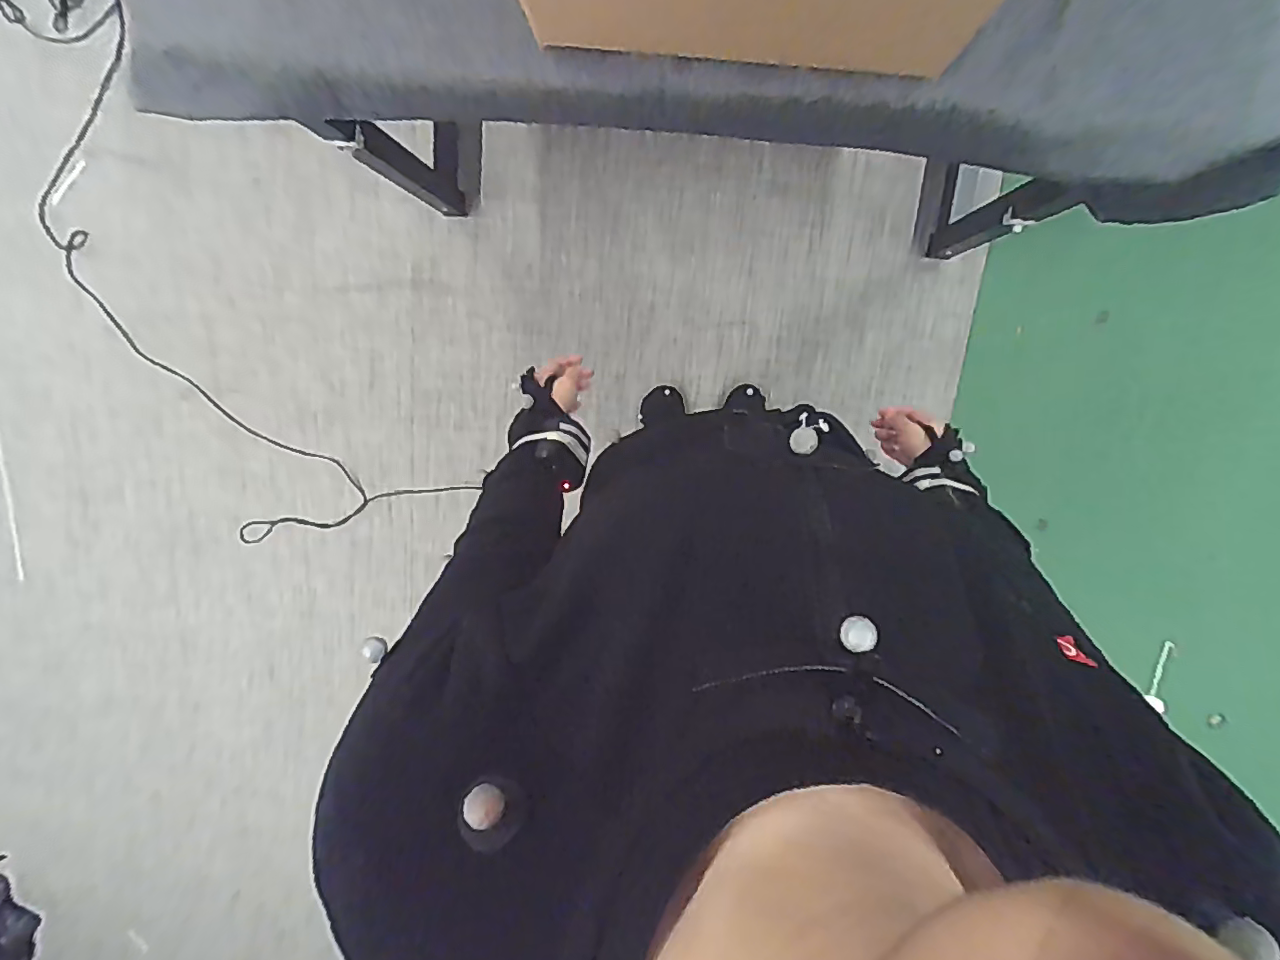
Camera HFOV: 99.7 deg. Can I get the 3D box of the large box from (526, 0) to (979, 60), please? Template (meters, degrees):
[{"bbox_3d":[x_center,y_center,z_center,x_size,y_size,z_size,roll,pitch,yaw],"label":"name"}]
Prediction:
[{"bbox_3d":[0.096,-0.551,0.368,0.408,0.320,0.320,6,101,2],"label":"large box"}]
